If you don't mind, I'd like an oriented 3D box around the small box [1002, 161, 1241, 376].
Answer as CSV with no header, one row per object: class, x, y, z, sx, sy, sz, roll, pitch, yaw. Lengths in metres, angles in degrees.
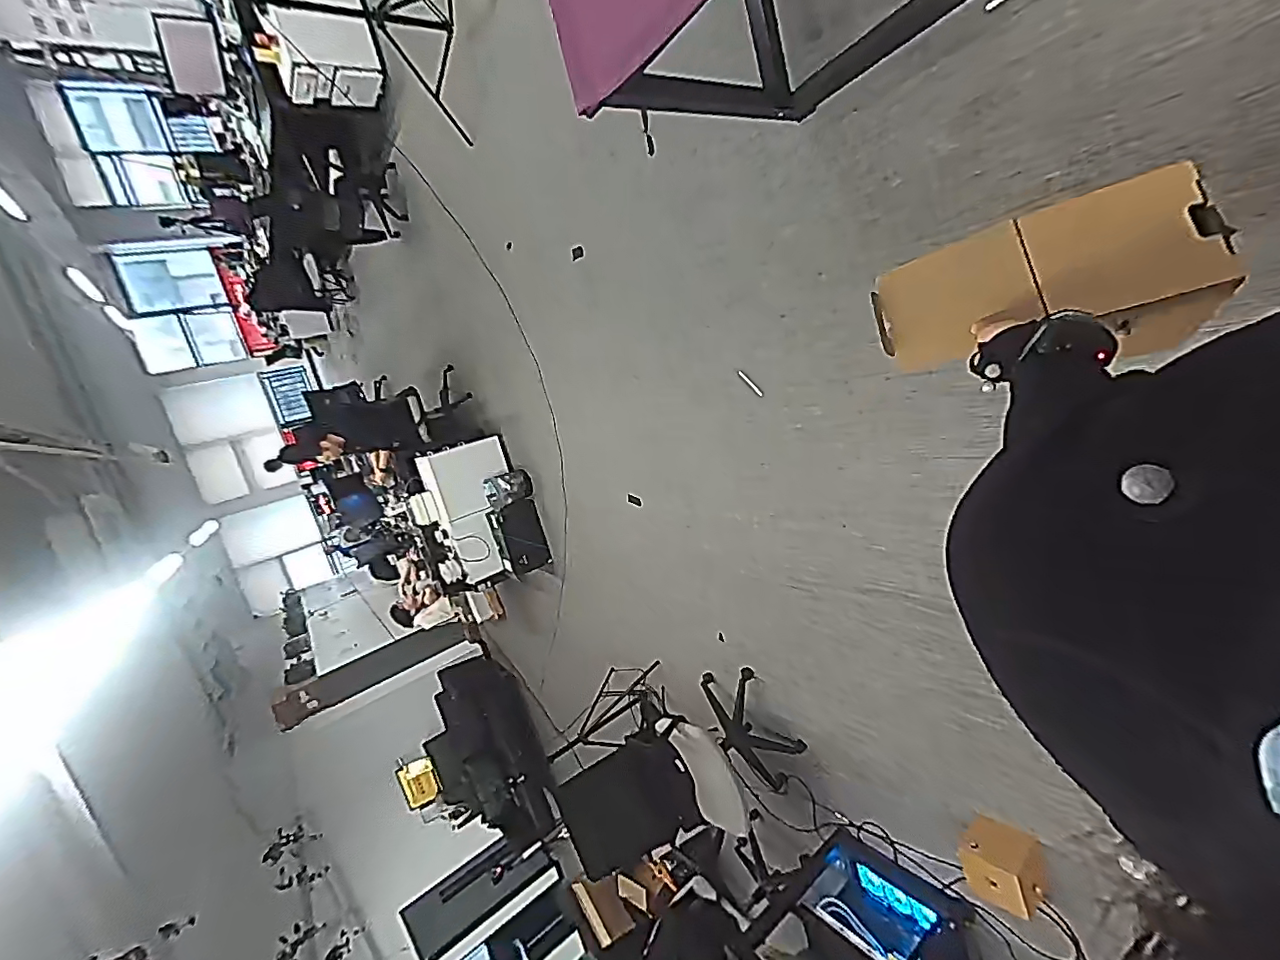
small box,0.588,-0.253,0.695,0.179,0.176,0.168,-11,73,23
